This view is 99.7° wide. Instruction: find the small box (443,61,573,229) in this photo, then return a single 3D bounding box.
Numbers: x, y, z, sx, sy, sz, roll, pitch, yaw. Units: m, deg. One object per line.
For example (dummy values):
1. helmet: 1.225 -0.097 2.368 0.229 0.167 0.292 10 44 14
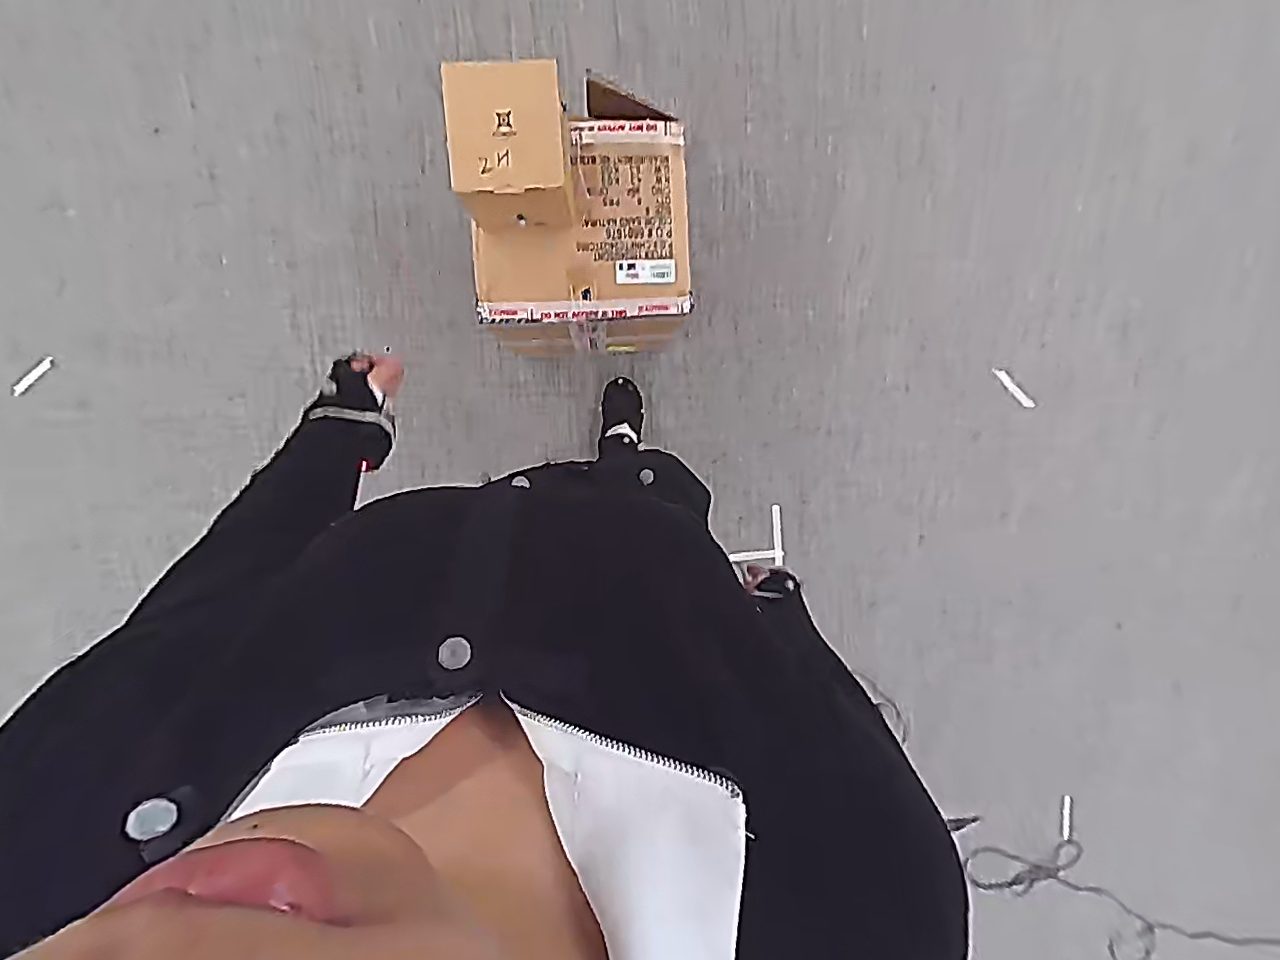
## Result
1. small box: -0.198 -0.517 0.855 0.168 0.176 0.179 -3 98 -2
